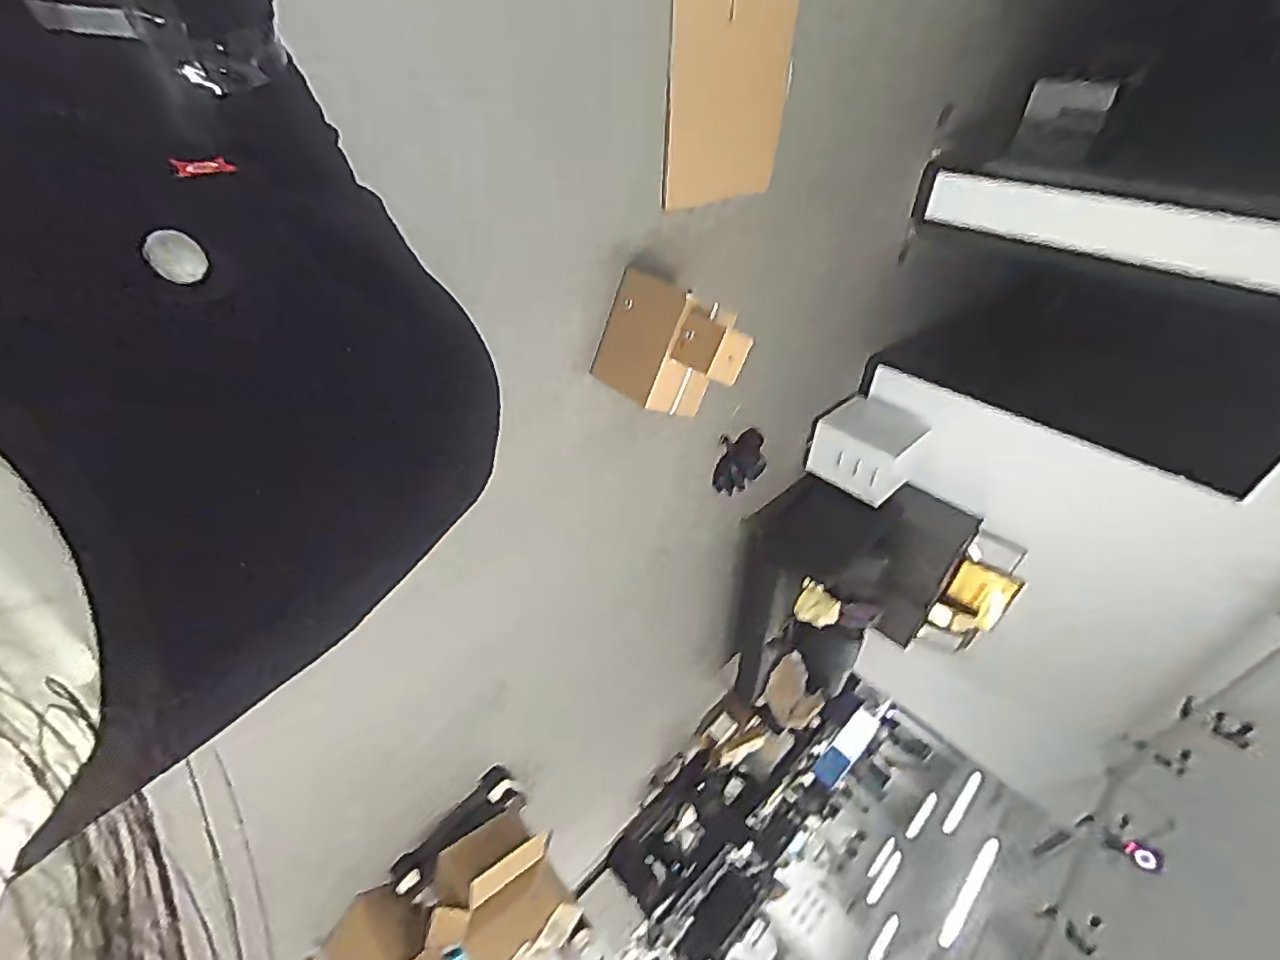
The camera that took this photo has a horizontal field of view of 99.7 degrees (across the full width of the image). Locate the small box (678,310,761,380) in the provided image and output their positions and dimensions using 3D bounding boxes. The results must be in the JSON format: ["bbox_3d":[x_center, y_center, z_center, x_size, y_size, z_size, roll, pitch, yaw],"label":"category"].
[{"bbox_3d":[0.260,-0.446,1.780,0.179,0.176,0.168,2,115,-48],"label":"small box"}]
